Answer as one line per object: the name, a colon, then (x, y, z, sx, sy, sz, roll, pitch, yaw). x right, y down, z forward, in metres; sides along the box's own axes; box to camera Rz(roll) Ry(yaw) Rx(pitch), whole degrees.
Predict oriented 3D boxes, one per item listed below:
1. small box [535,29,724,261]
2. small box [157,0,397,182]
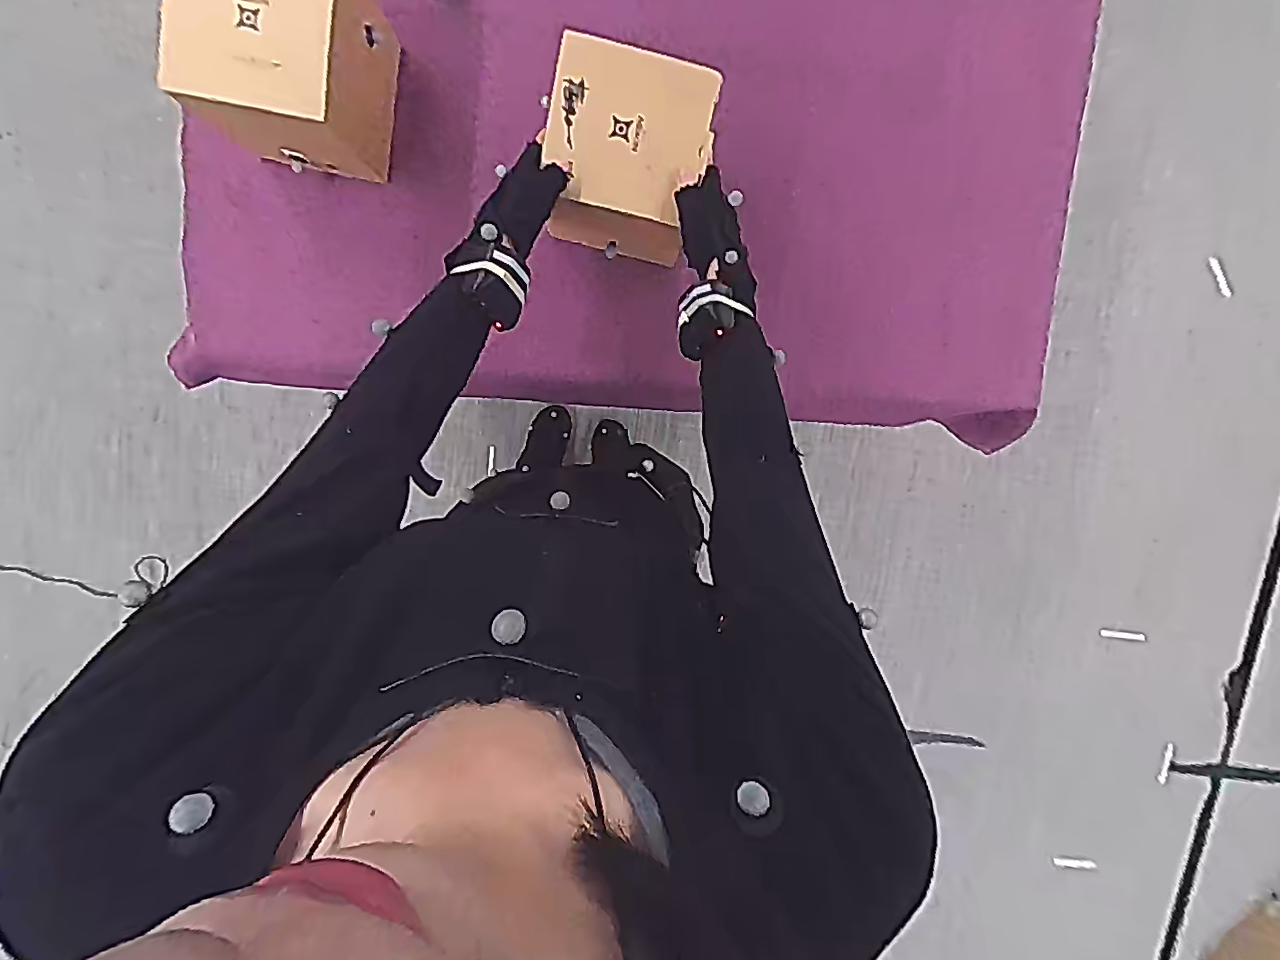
small box: (-0.017, -0.382, 0.656, 0.179, 0.176, 0.168, 12, 97, -6)
small box: (-0.394, -0.477, 0.618, 0.168, 0.176, 0.179, 9, 98, -4)
